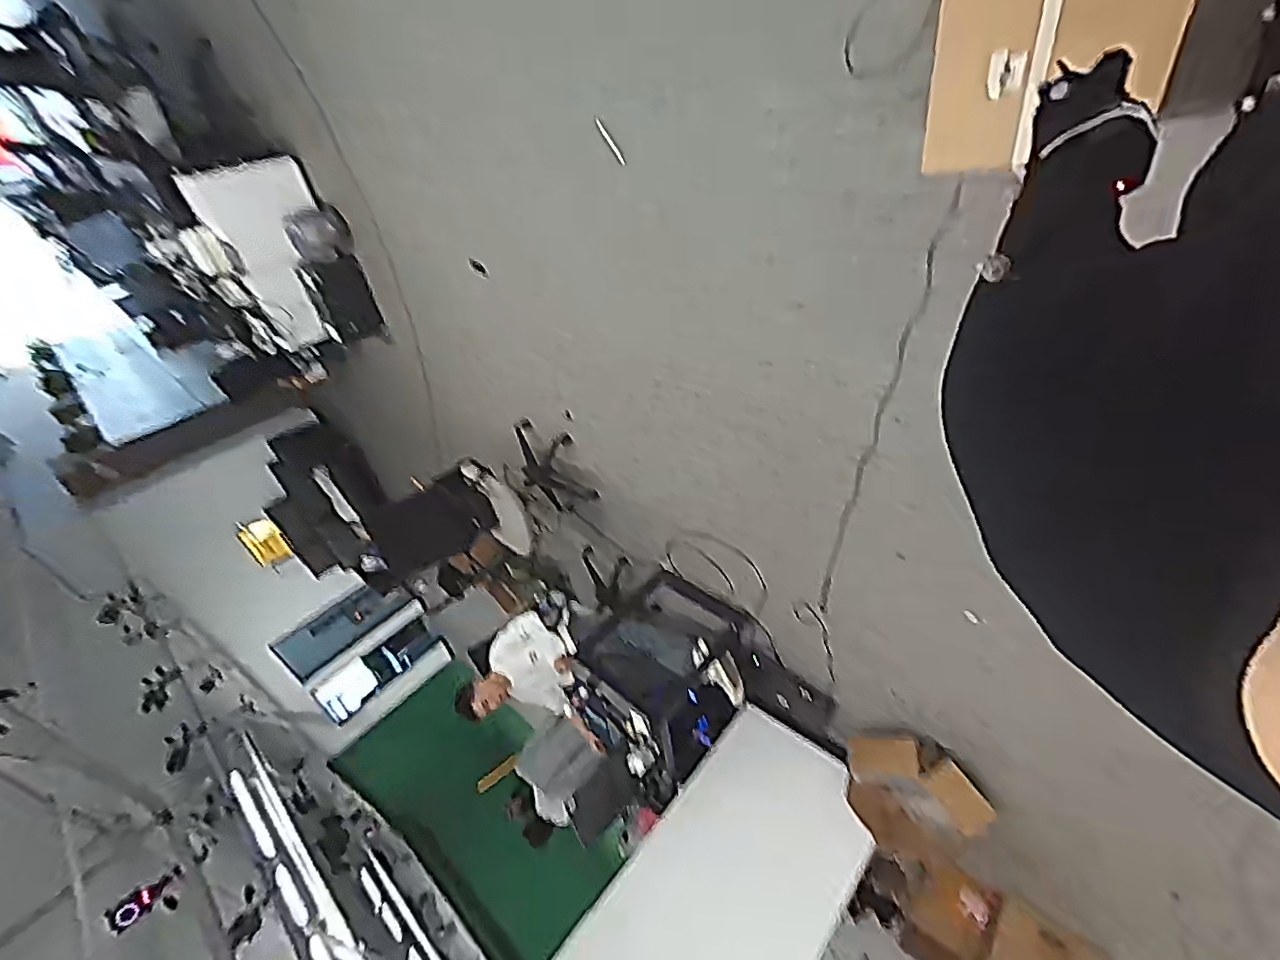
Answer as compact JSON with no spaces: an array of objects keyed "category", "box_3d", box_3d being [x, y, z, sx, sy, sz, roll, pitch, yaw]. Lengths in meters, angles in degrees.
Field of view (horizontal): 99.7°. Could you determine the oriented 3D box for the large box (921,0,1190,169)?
[{"category":"large box","box_3d":[0.687,-0.773,0.870,0.320,0.320,0.408,21,139,36]}]
